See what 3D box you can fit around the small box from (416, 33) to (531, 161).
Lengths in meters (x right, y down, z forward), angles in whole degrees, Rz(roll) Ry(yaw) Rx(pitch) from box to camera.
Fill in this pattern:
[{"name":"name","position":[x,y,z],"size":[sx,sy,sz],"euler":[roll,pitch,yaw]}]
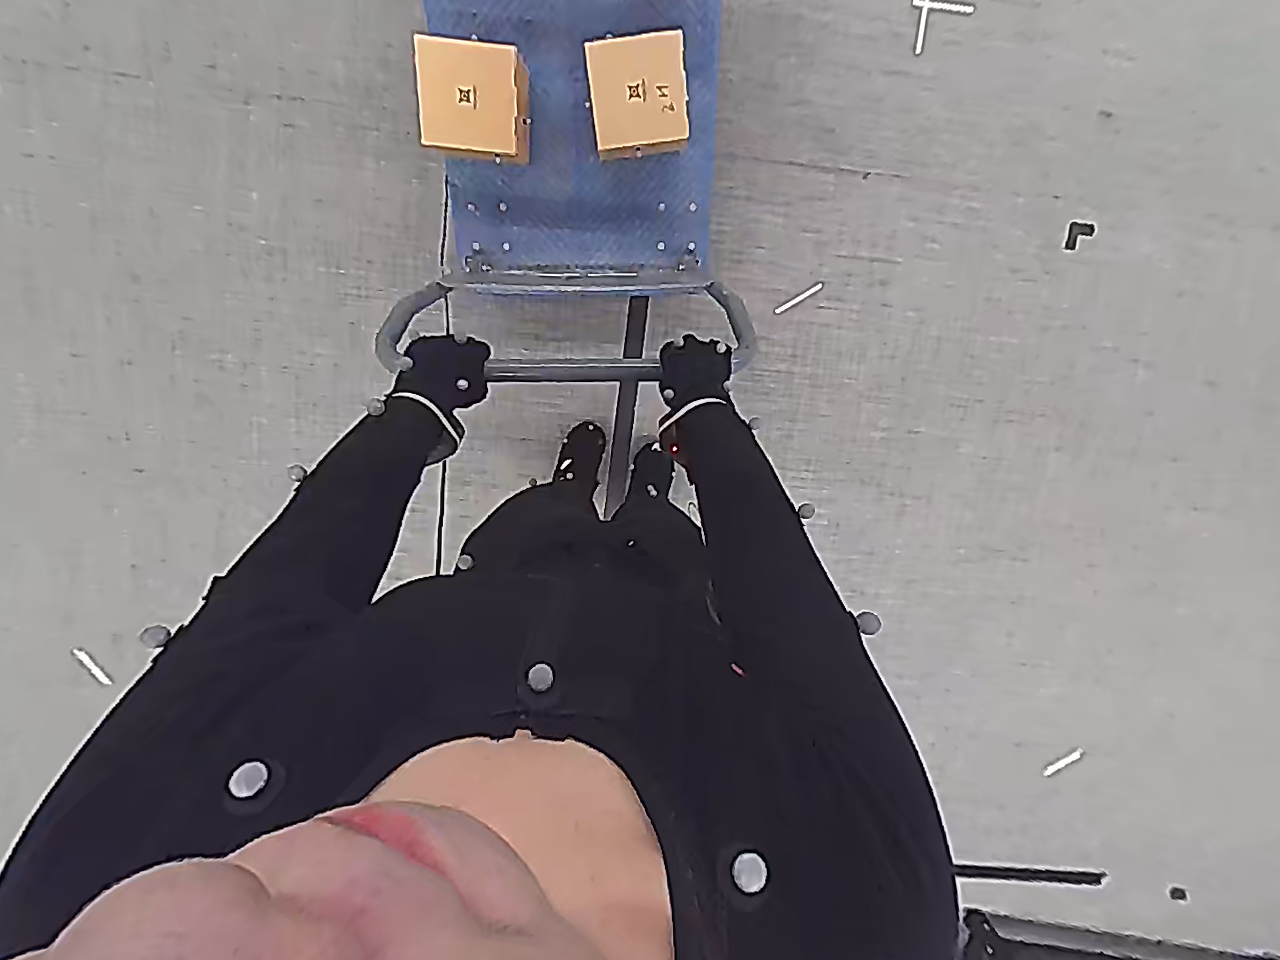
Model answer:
[{"name":"small box","position":[-0.311,-0.724,1.042],"size":[0.179,0.176,0.168],"euler":[3,115,-5]}]

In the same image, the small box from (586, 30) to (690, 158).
[{"name":"small box","position":[-0.002,-0.735,1.047],"size":[0.179,0.176,0.168],"euler":[-7,115,1]}]
